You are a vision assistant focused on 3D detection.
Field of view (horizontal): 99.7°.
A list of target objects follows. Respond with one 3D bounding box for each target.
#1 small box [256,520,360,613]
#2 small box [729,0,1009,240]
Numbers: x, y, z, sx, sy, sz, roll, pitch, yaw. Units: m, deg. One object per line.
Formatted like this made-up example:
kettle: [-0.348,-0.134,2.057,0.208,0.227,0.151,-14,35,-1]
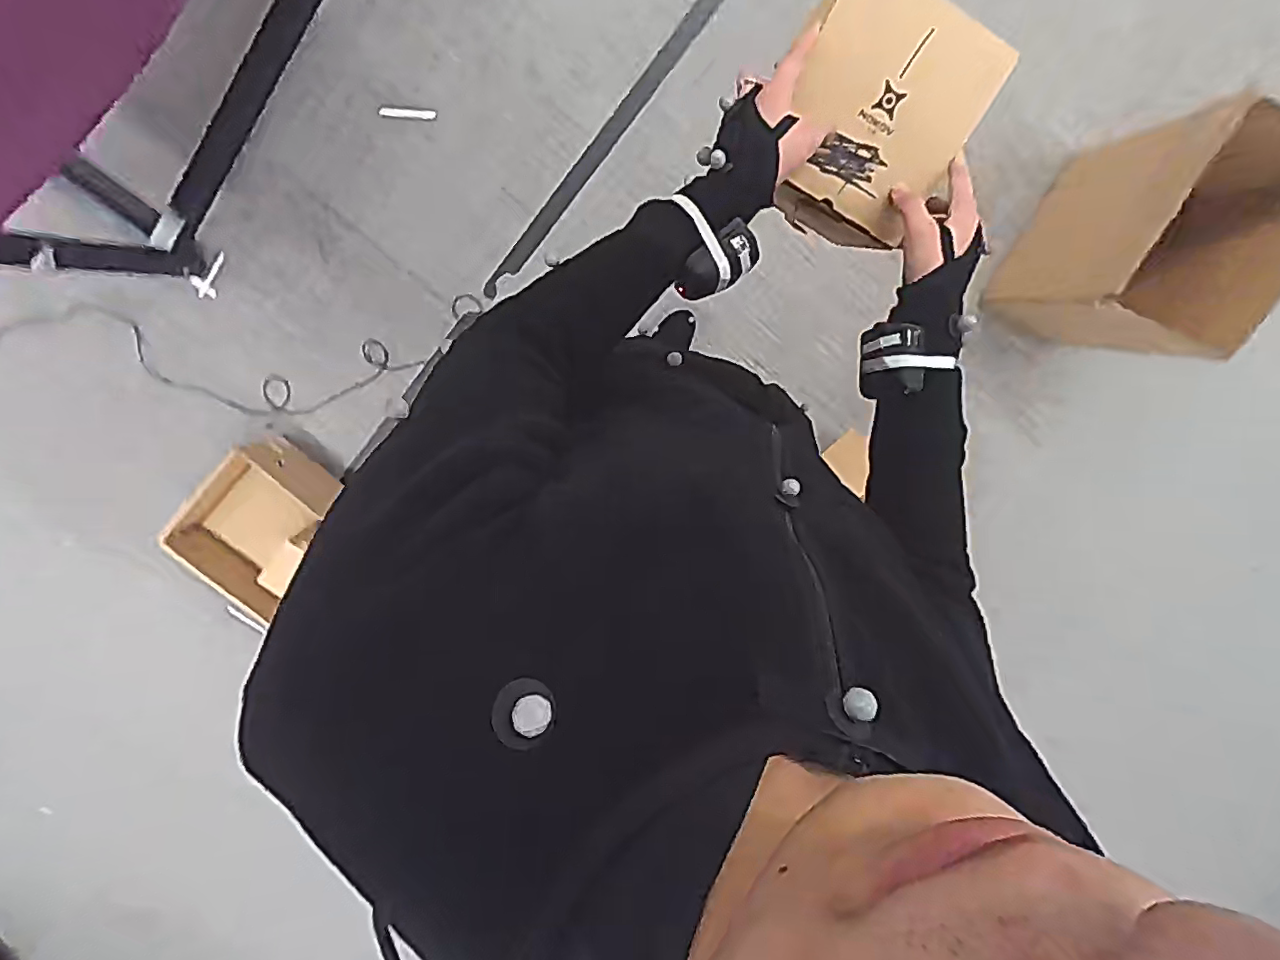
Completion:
small box: [-0.964,0.248,1.592,0.168,0.176,0.179,40,103,-10]
small box: [0.204,-0.364,0.545,0.168,0.176,0.179,24,112,-11]
